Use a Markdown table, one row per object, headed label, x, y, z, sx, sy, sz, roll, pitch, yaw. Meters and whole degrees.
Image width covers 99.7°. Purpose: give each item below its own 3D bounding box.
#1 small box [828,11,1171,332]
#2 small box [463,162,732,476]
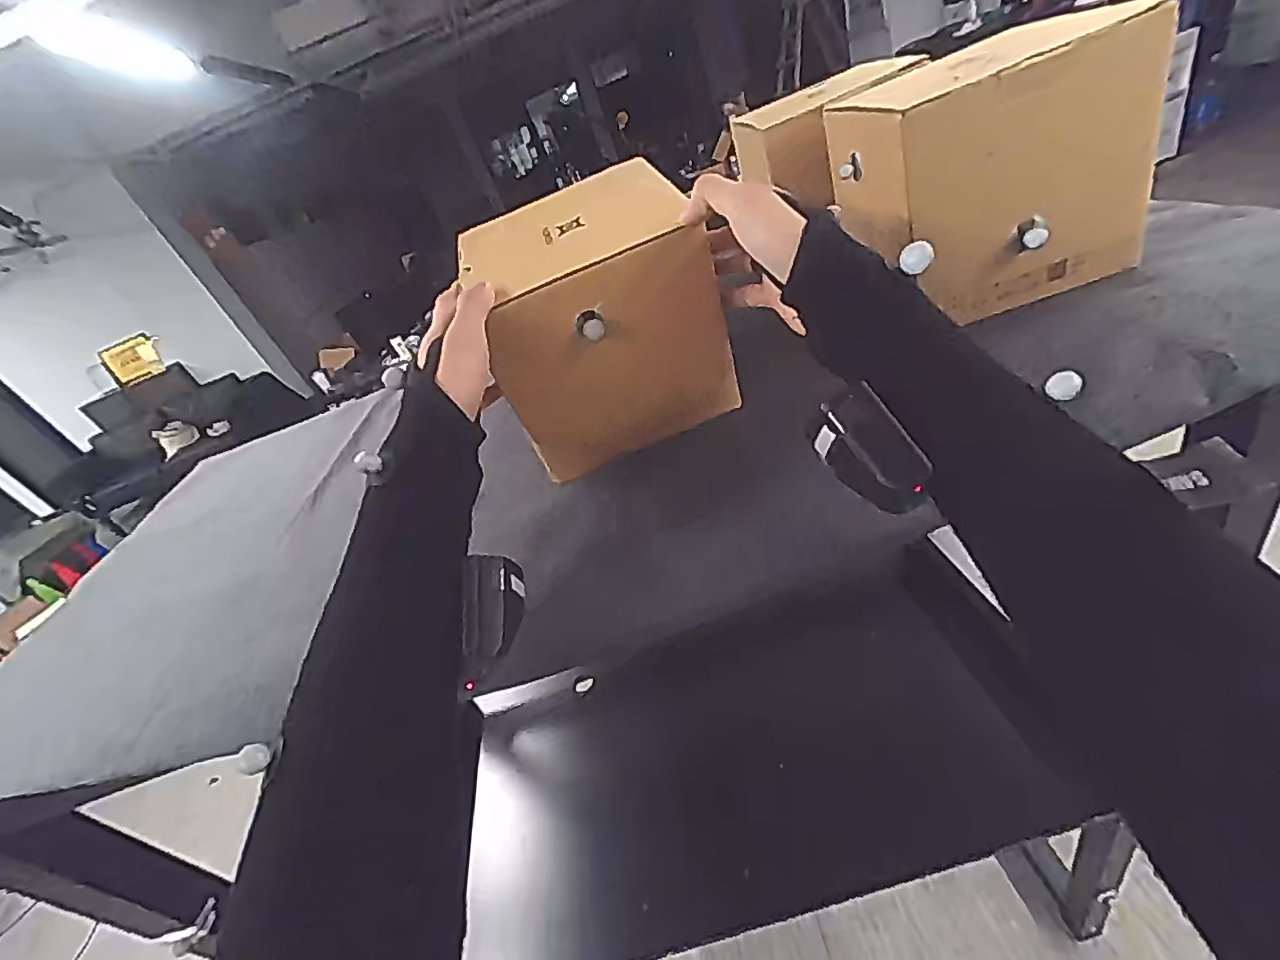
| label | x | y | z | sx | sy | sz | roll | pitch | yaw |
| --- | --- | --- | --- | --- | --- | --- | --- | --- | --- |
| small box | 0.275 | -0.248 | 0.457 | 0.168 | 0.176 | 0.179 | -18 | 34 | 10 |
| small box | -0.031 | -0.135 | 0.468 | 0.179 | 0.176 | 0.168 | -23 | 45 | 2 |
